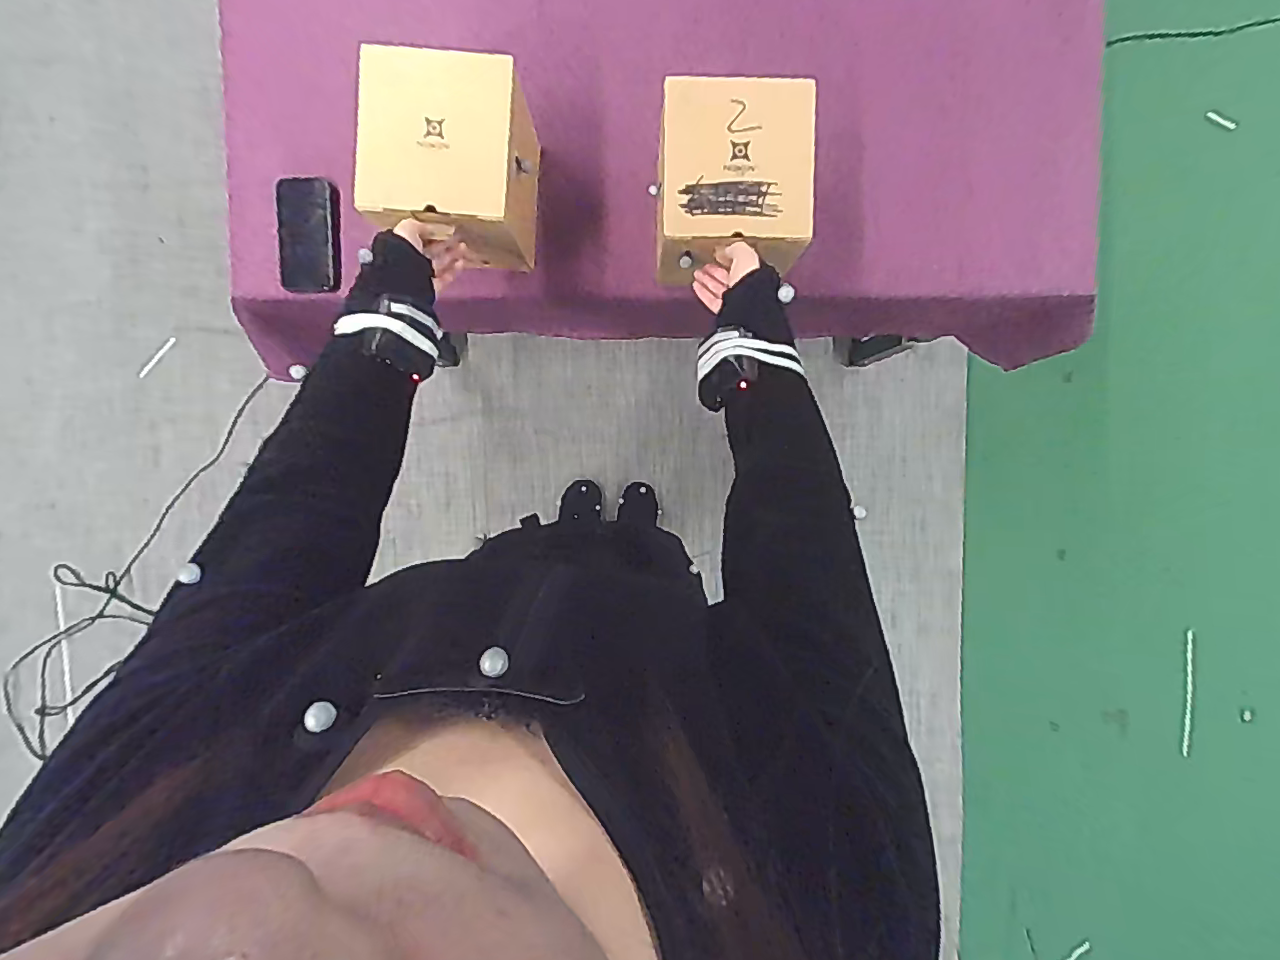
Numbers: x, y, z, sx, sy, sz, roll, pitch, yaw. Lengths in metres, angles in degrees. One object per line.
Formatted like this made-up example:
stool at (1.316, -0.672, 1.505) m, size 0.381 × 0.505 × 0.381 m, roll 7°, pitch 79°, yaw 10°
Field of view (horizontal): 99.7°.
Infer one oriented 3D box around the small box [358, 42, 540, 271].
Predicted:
small box at (-0.220, -0.378, 0.663) m, size 0.168 × 0.176 × 0.179 m, roll 4°, pitch 93°, yaw -2°
